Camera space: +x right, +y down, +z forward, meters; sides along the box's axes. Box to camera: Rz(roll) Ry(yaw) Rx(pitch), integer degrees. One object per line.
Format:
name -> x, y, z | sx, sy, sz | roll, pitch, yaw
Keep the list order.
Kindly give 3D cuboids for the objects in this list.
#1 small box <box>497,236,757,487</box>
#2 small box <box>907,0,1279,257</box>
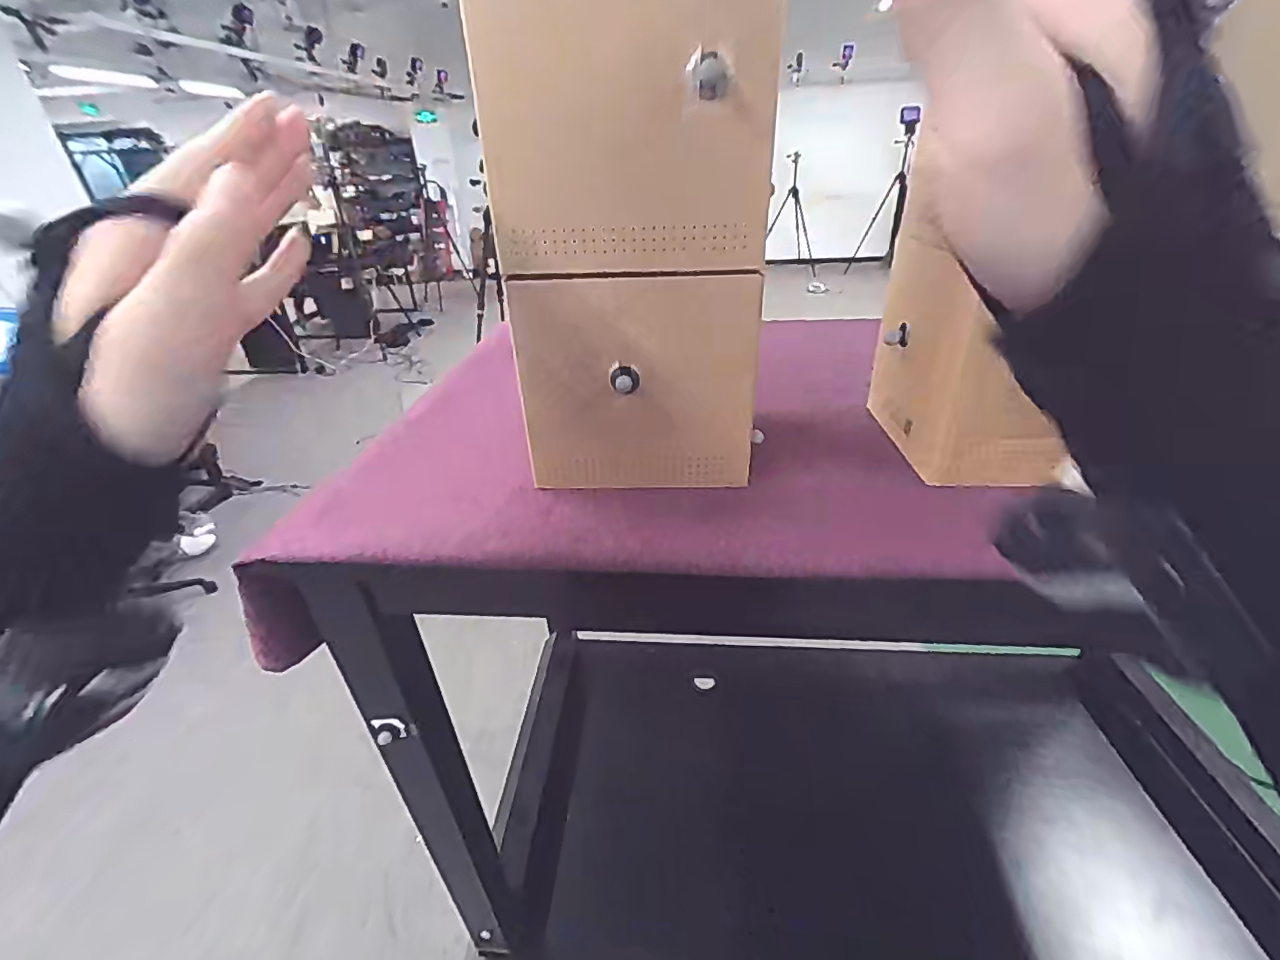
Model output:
small box -> -0.003, -0.104, 0.465 | 0.179, 0.176, 0.168 | -1, 31, 3
small box -> 0.300, -0.249, 0.365 | 0.179, 0.176, 0.168 | 1, 31, 5
